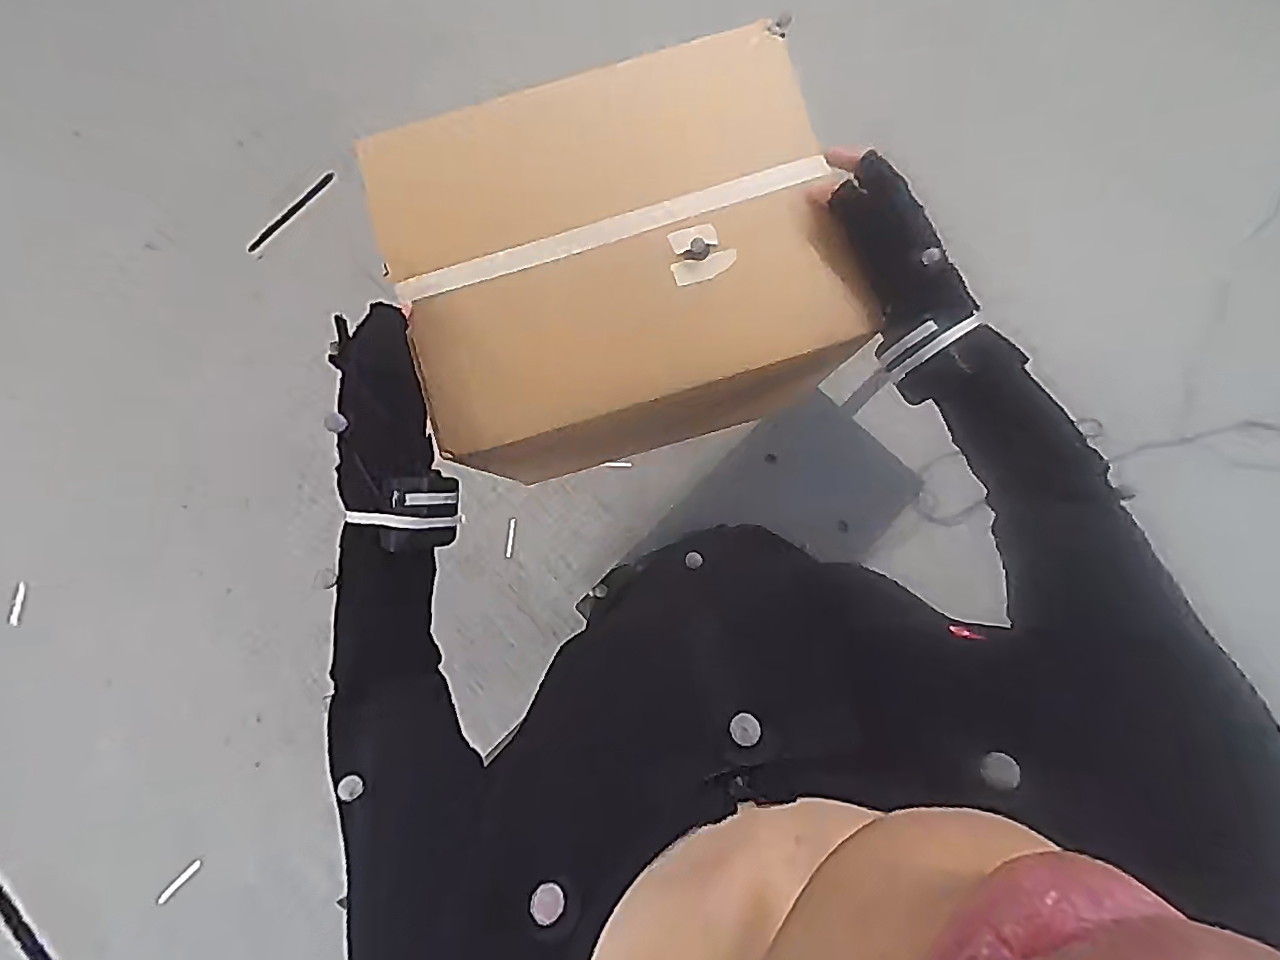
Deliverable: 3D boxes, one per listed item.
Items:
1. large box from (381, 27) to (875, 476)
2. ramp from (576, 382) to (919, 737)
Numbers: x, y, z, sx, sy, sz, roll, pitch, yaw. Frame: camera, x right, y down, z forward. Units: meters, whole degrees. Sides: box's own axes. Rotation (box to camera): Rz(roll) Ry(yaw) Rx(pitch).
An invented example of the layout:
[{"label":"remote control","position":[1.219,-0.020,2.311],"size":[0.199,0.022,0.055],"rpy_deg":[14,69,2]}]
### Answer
[{"label":"large box","position":[-0.016,-0.219,0.648],"size":[0.408,0.320,0.320],"rpy_deg":[-16,85,-1]},{"label":"ramp","position":[0.336,0.173,1.560],"size":[0.509,0.206,0.991],"rpy_deg":[42,85,9]}]
